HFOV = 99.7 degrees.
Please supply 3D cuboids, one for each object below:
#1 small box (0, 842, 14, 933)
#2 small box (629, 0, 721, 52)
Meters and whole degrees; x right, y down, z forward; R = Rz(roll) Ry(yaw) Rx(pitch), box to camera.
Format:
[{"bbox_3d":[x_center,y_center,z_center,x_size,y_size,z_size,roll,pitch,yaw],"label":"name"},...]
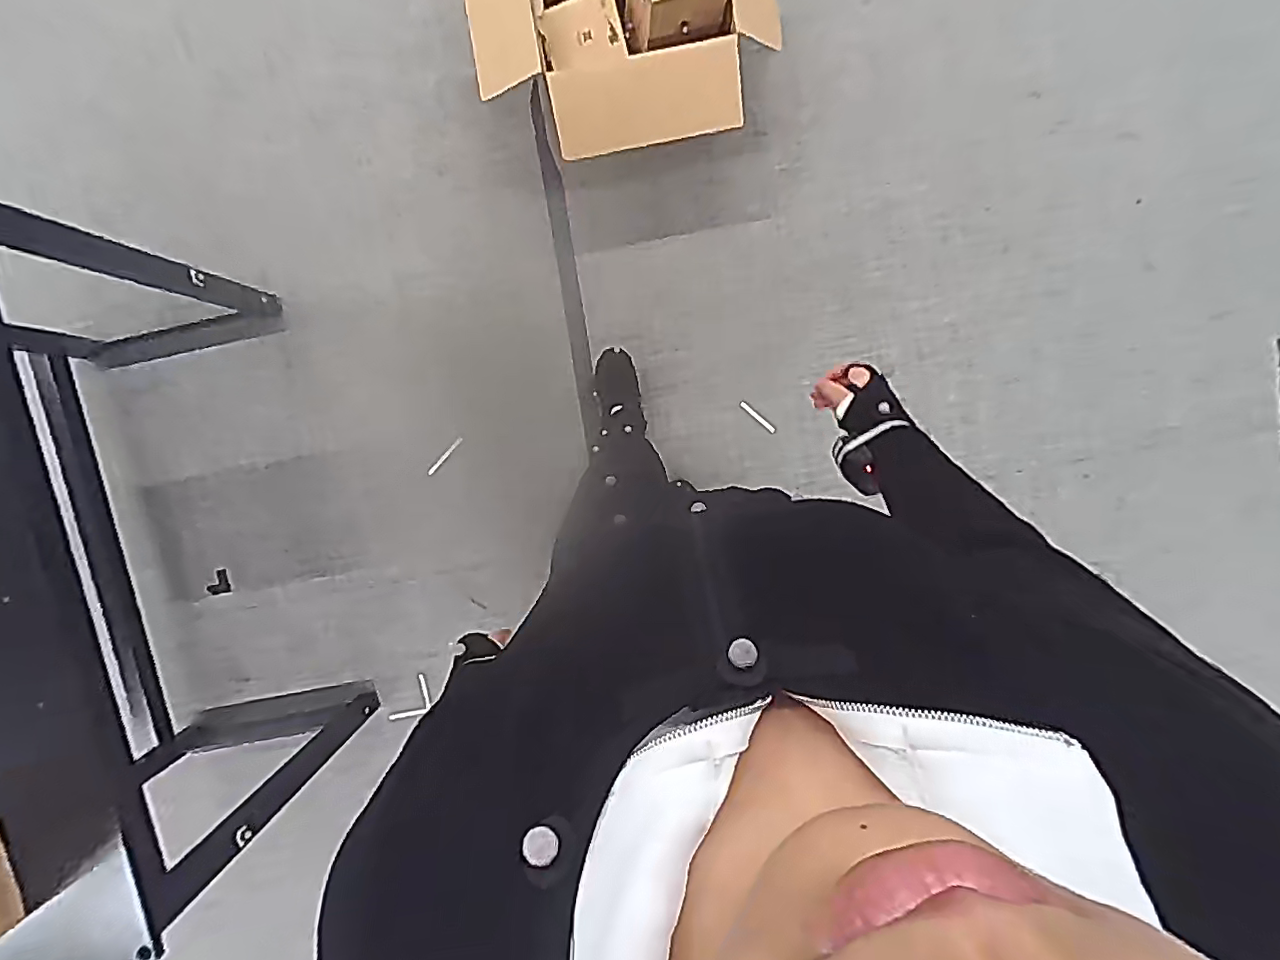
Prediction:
[{"bbox_3d":[-1.047,0.621,0.751,0.179,0.176,0.168,-11,94,3],"label":"small box"},{"bbox_3d":[0.068,-1.027,1.110,0.168,0.176,0.179,-16,96,-1],"label":"small box"}]
